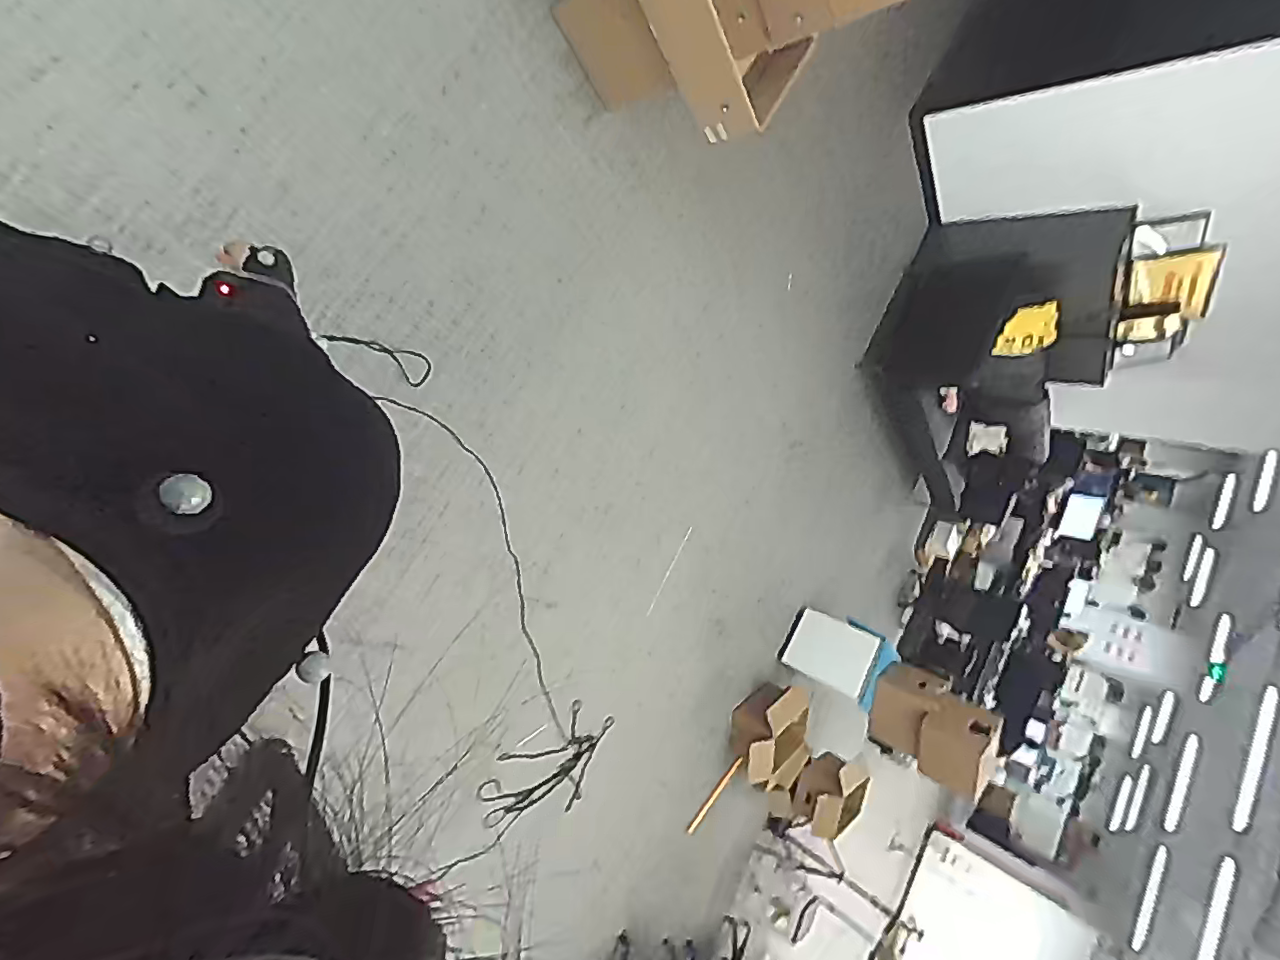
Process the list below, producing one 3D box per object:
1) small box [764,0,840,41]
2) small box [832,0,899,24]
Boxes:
[{"bbox_3d":[0.406,-1.194,1.288,0.168,0.176,0.179,-57,134,-16],"label":"small box"},{"bbox_3d":[0.521,-1.157,1.180,0.168,0.176,0.179,-56,135,-17],"label":"small box"}]
